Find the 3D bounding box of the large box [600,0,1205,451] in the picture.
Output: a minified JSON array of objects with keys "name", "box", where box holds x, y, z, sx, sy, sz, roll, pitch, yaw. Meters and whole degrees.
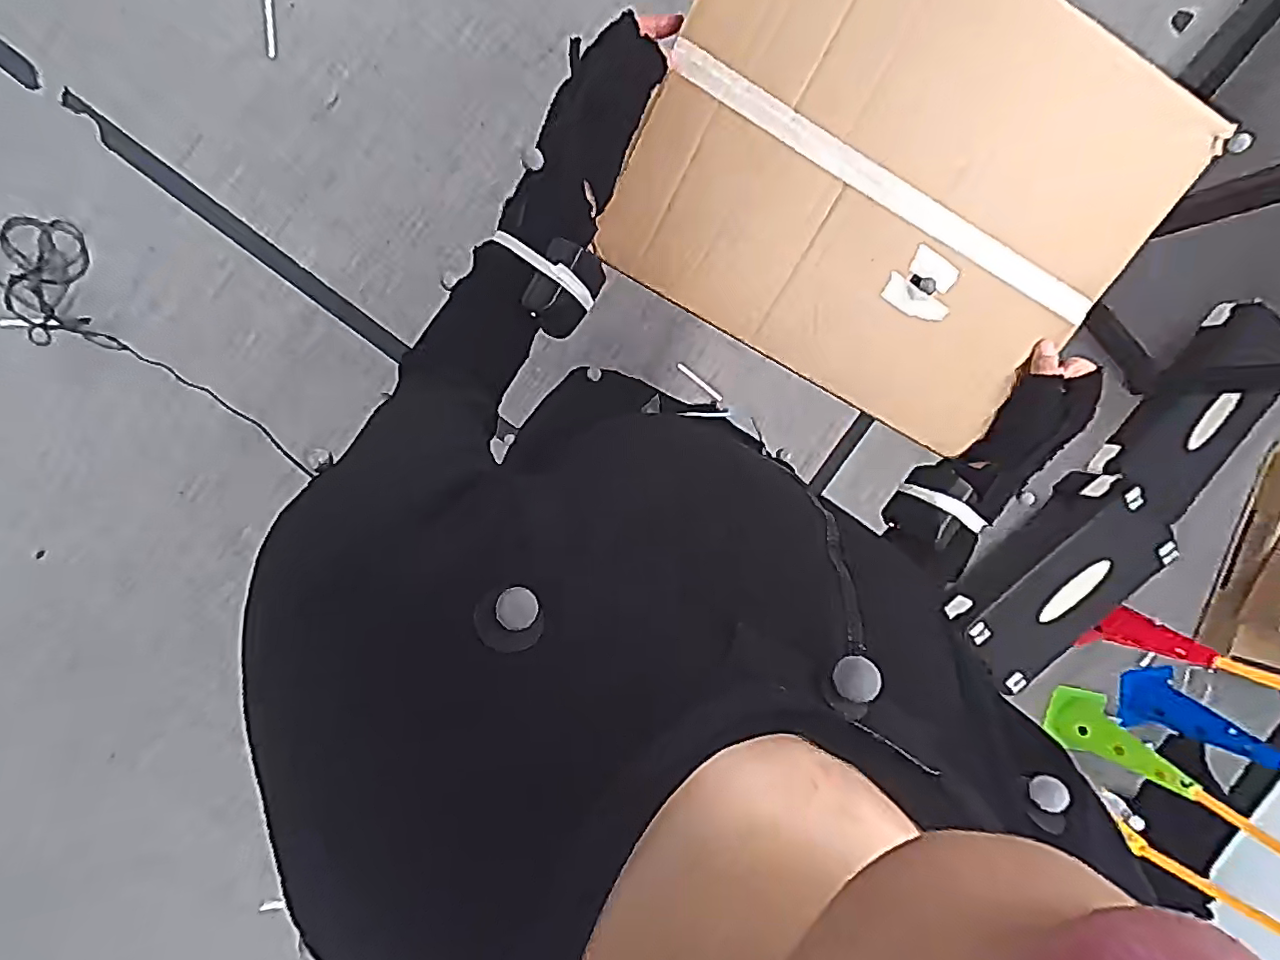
[{"name":"large box","box":[0.209,-0.292,0.588,0.408,0.320,0.320,28,111,-9]}]
